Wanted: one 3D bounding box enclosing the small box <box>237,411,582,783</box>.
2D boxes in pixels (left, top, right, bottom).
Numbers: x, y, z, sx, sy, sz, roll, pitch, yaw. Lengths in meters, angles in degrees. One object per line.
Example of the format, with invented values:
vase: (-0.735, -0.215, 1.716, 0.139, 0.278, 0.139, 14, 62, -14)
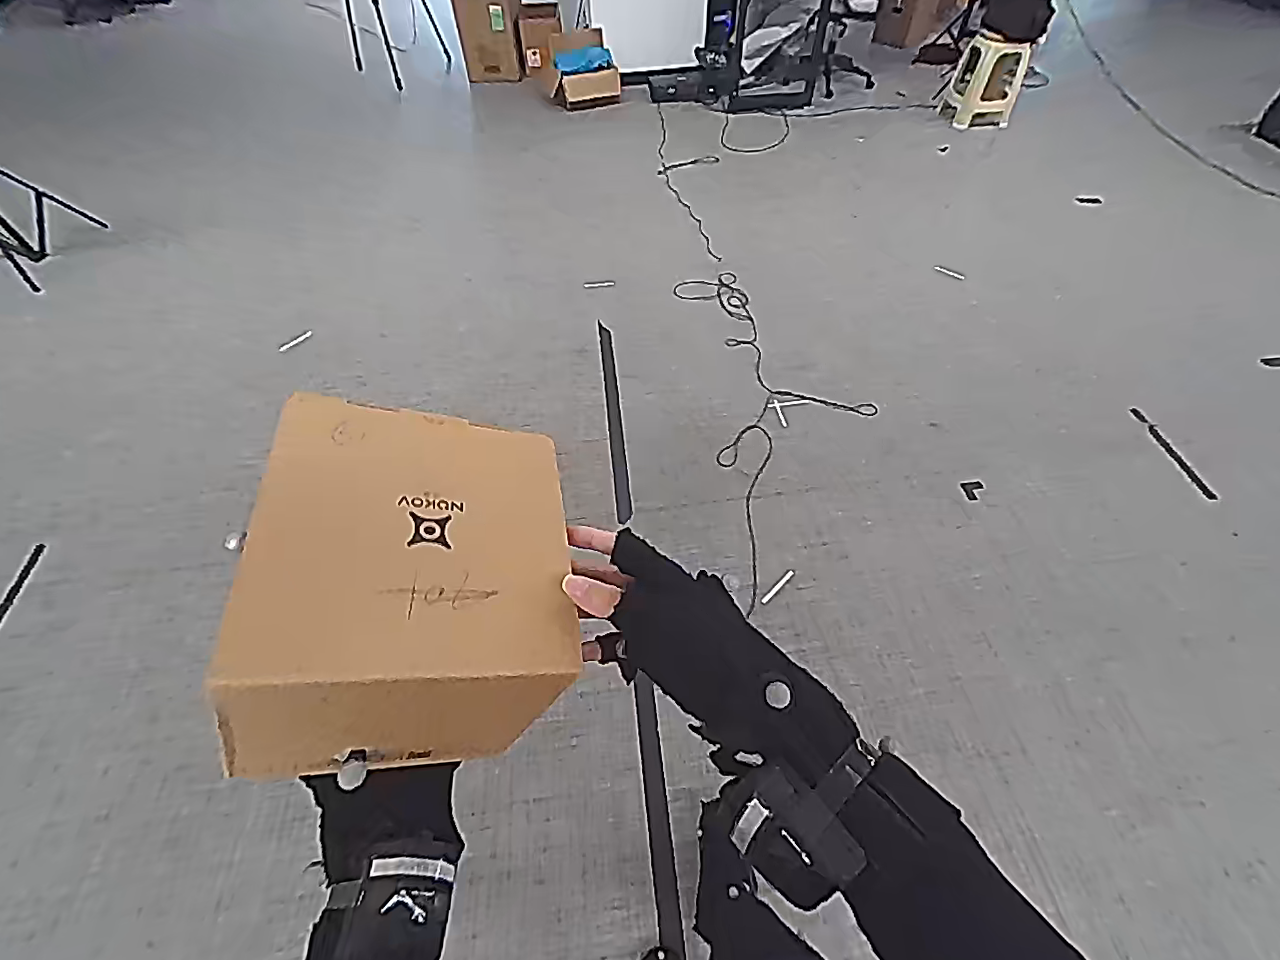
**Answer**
small box: (-0.154, 0.085, 0.372, 0.168, 0.176, 0.179, 9, 49, -27)
